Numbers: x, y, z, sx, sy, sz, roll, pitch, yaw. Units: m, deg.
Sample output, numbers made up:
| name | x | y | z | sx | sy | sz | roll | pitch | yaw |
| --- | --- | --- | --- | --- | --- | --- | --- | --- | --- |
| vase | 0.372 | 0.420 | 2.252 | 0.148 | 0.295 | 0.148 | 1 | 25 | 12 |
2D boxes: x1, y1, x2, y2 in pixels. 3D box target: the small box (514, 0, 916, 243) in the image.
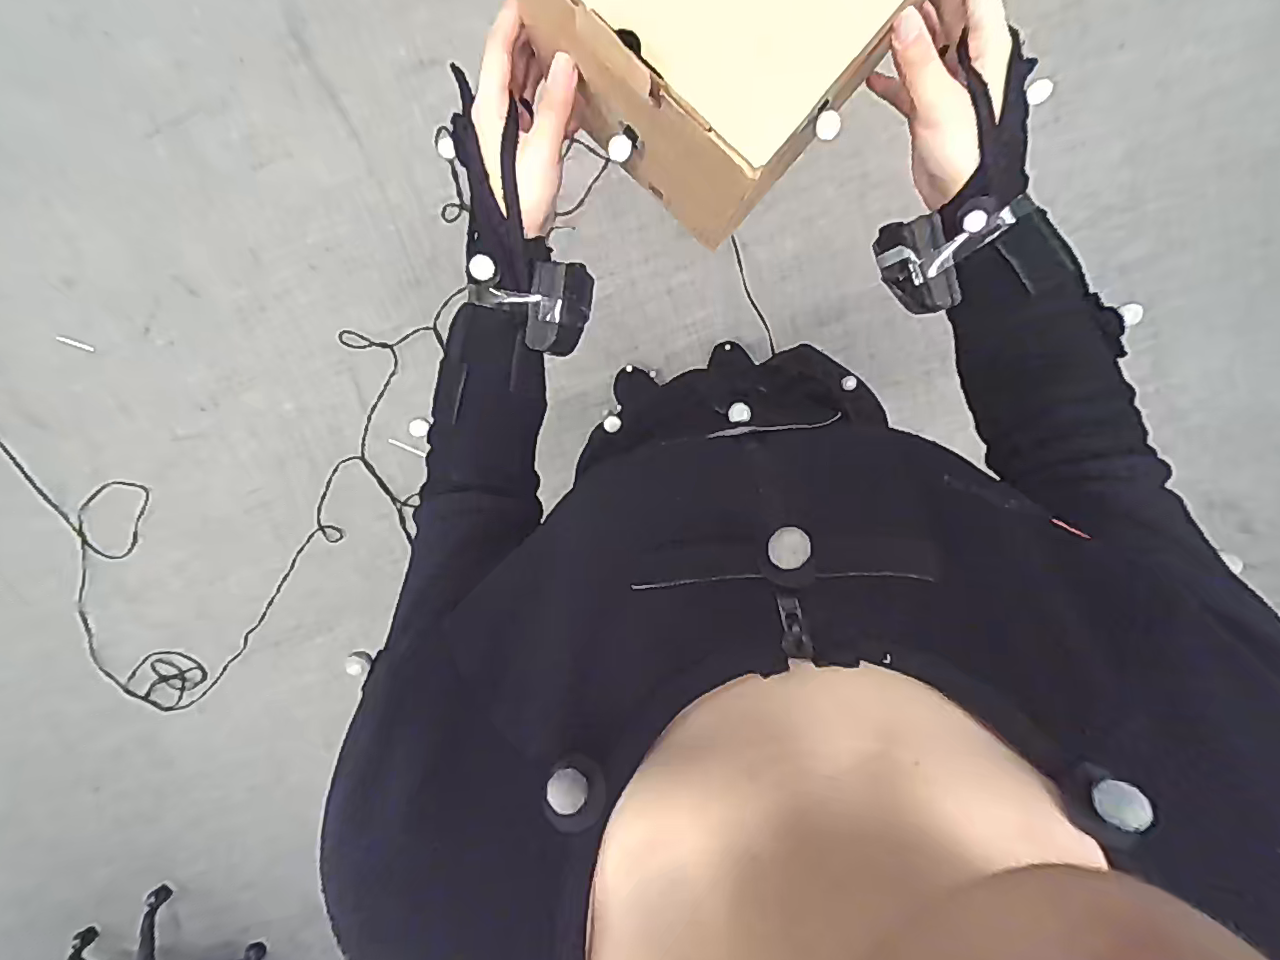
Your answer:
| name | x | y | z | sx | sy | sz | roll | pitch | yaw |
| --- | --- | --- | --- | --- | --- | --- | --- | --- | --- |
| small box | 0.049 | -0.273 | 0.319 | 0.168 | 0.176 | 0.179 | 41 | 100 | -6 |
